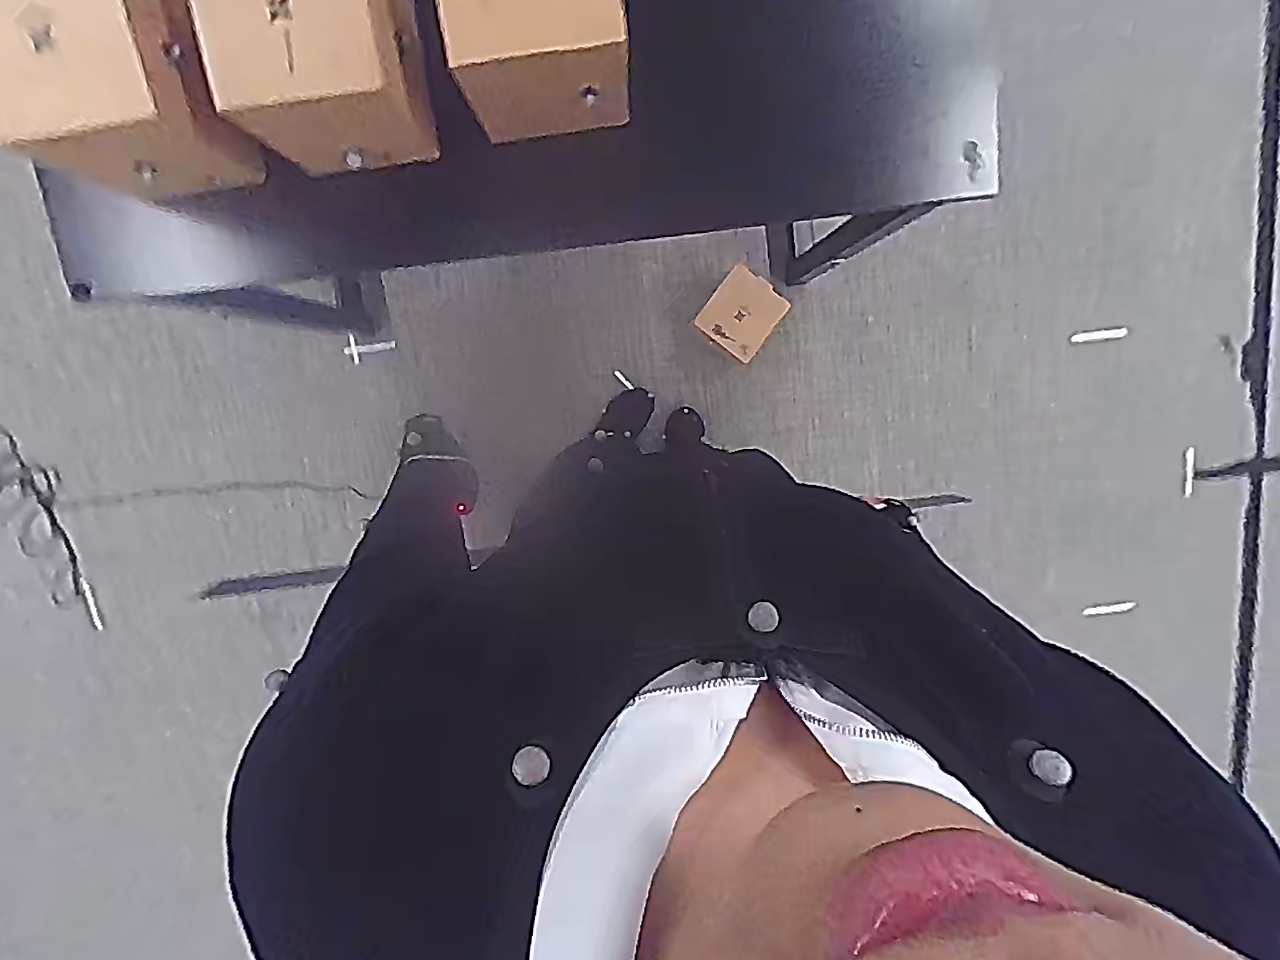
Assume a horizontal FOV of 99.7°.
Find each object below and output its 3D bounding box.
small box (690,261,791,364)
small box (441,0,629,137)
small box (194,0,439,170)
[{"bbox_3d":[0.239,-0.410,1.351,0.168,0.176,0.179,36,97,-7],"label":"small box"},{"bbox_3d":[-0.108,-0.505,0.587,0.179,0.176,0.168,-8,99,1],"label":"small box"},{"bbox_3d":[-0.337,-0.468,0.585,0.168,0.176,0.179,-7,101,0],"label":"small box"}]
